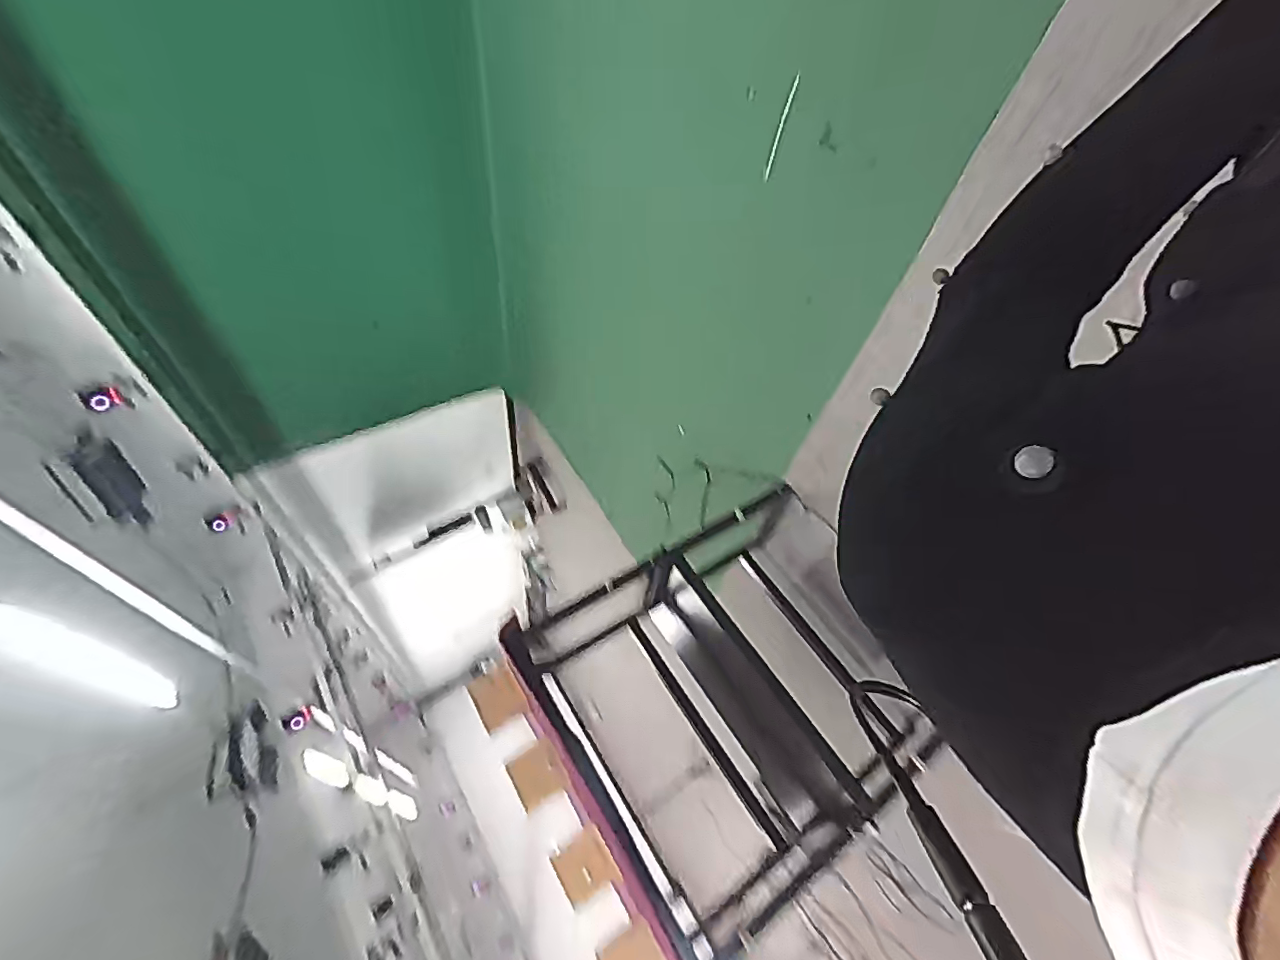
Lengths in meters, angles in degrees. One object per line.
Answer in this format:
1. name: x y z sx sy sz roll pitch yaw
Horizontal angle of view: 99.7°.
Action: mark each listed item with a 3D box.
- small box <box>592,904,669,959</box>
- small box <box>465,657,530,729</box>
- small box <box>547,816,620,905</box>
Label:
1. small box: -0.023 1.391 1.576 0.179 0.176 0.168 53 154 26
2. small box: -0.513 0.774 1.969 0.168 0.176 0.179 53 155 24
3. small box: -0.177 1.185 1.694 0.168 0.176 0.179 52 155 25
